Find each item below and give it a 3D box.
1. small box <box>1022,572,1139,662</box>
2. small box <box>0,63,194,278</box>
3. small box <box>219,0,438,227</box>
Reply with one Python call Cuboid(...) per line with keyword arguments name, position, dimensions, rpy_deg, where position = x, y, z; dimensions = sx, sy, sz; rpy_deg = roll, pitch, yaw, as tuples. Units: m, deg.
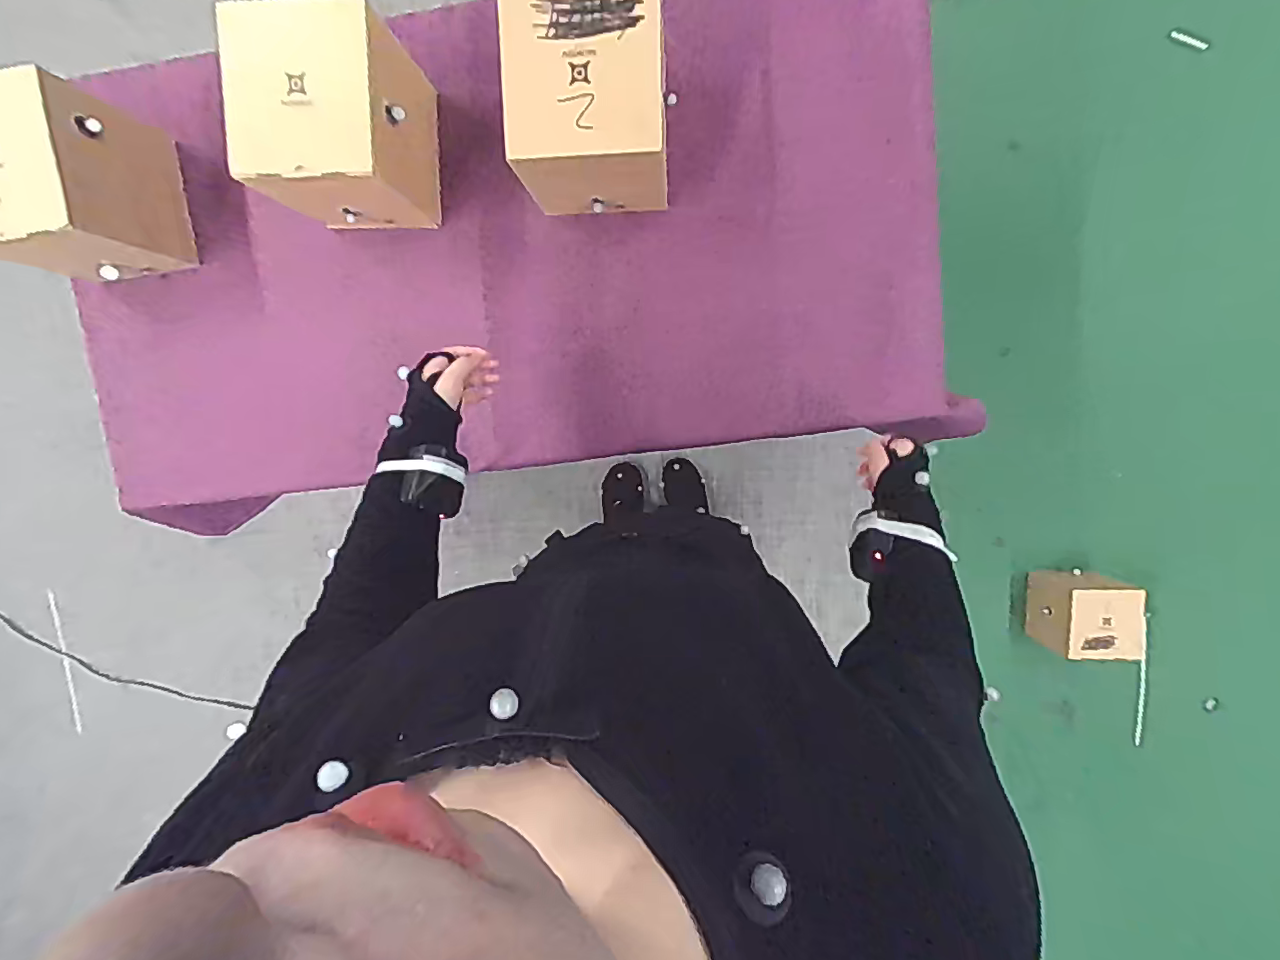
Cuboid(name="small box", position=(1.104, 0.341, 1.369), dimensions=(0.168, 0.176, 0.179), rpy_deg=(0, 96, 4))
Cuboid(name="small box", position=(-0.722, -0.373, 0.685), dimensions=(0.168, 0.176, 0.179), rpy_deg=(-6, 97, 5))
Cuboid(name="small box", position=(-0.359, -0.427, 0.654), dimensions=(0.168, 0.176, 0.179), rpy_deg=(2, 98, 4))
